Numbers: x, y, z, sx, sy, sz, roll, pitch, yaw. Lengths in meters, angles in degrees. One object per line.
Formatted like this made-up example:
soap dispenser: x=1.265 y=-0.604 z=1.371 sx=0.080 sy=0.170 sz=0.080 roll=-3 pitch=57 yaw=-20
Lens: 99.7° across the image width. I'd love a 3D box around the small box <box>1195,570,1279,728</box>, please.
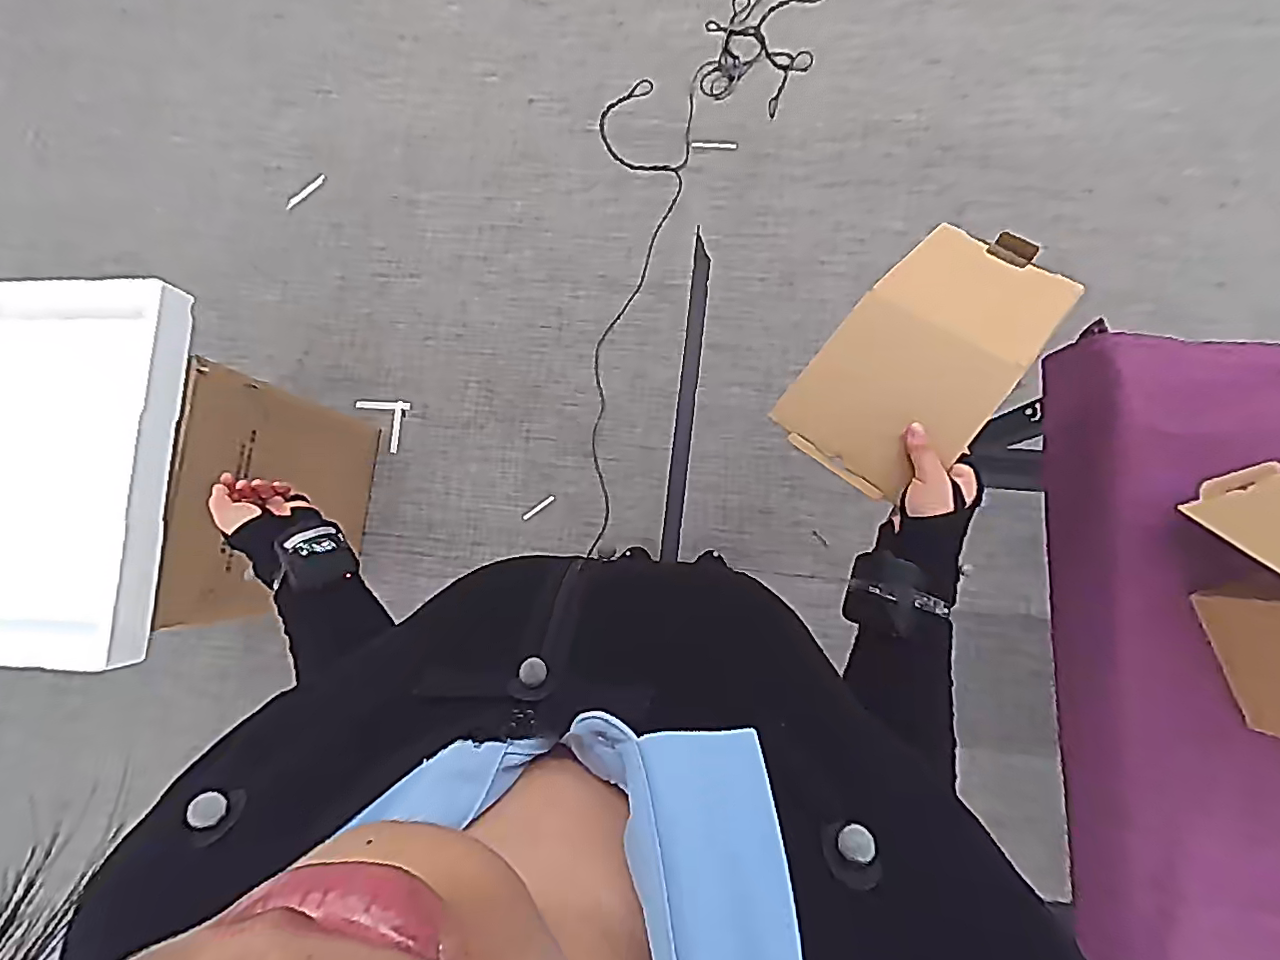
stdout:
small box: x=0.806 y=0.192 z=0.610 sx=0.168 sy=0.176 sz=0.179 roll=-18 pitch=81 yaw=3
